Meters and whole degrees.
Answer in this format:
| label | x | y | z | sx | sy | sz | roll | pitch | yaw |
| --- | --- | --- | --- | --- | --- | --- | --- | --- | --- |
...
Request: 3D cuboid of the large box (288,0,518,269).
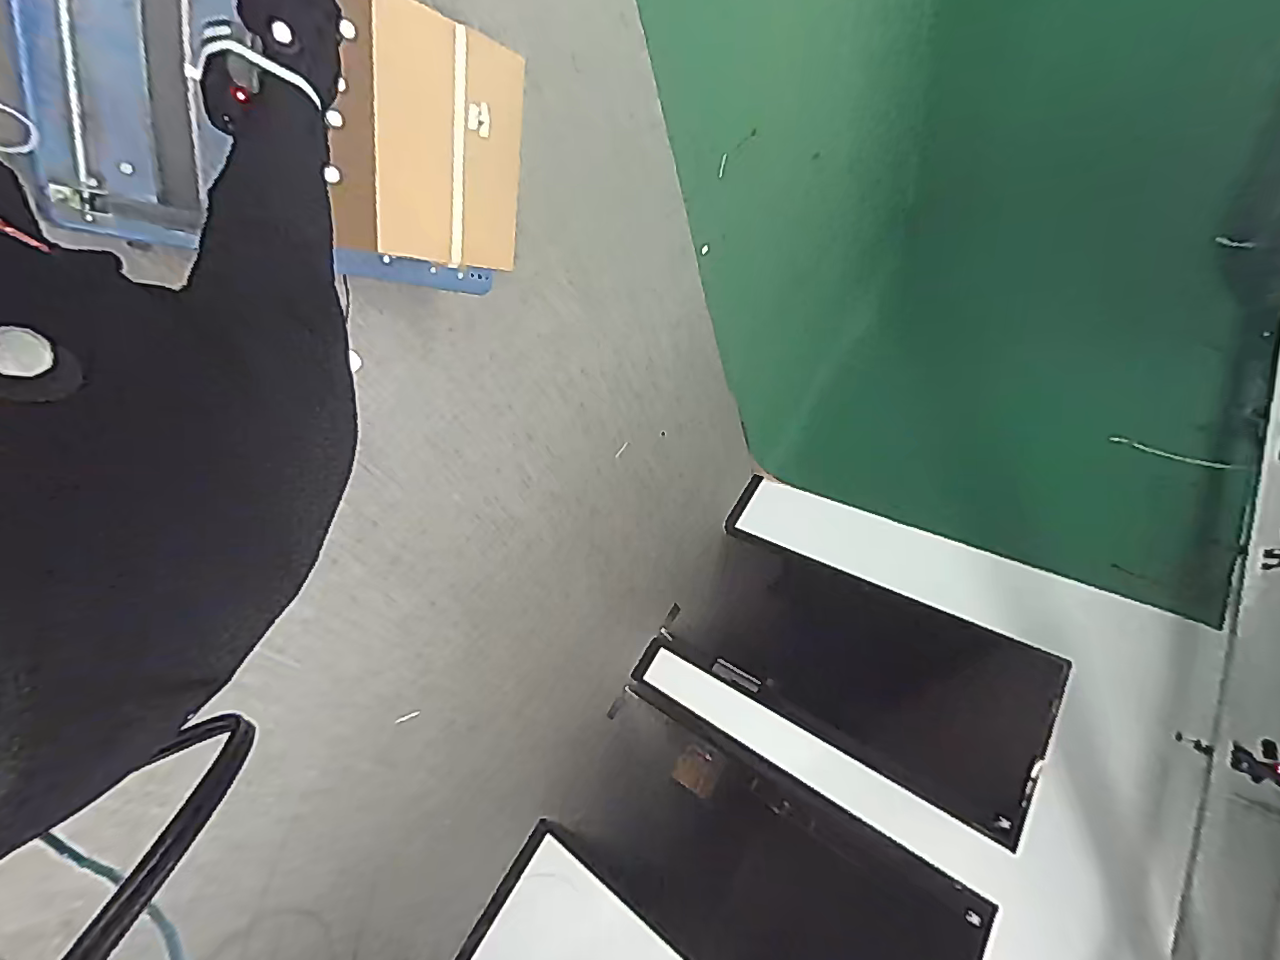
| label | x | y | z | sx | sy | sz | roll | pitch | yaw |
| --- | --- | --- | --- | --- | --- | --- | --- | --- | --- |
| large box | -0.472 | -0.665 | 1.103 | 0.320 | 0.320 | 0.408 | -19 | 122 | -51 |
